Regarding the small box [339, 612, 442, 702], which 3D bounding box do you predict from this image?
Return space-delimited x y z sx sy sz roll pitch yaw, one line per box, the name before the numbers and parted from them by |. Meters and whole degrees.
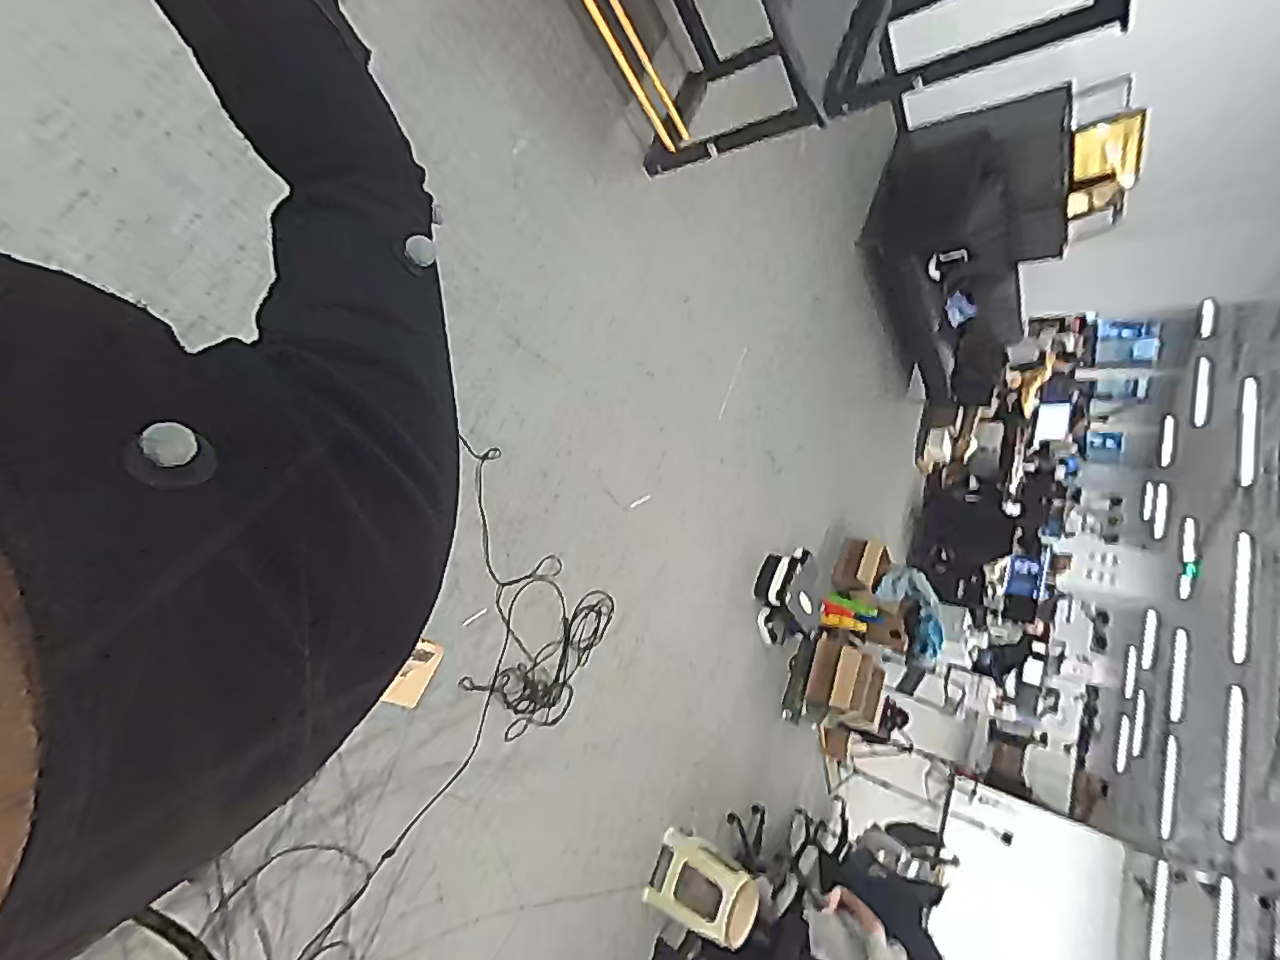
small box | -0.699 0.487 1.507 0.168 0.176 0.179 45 63 -44
